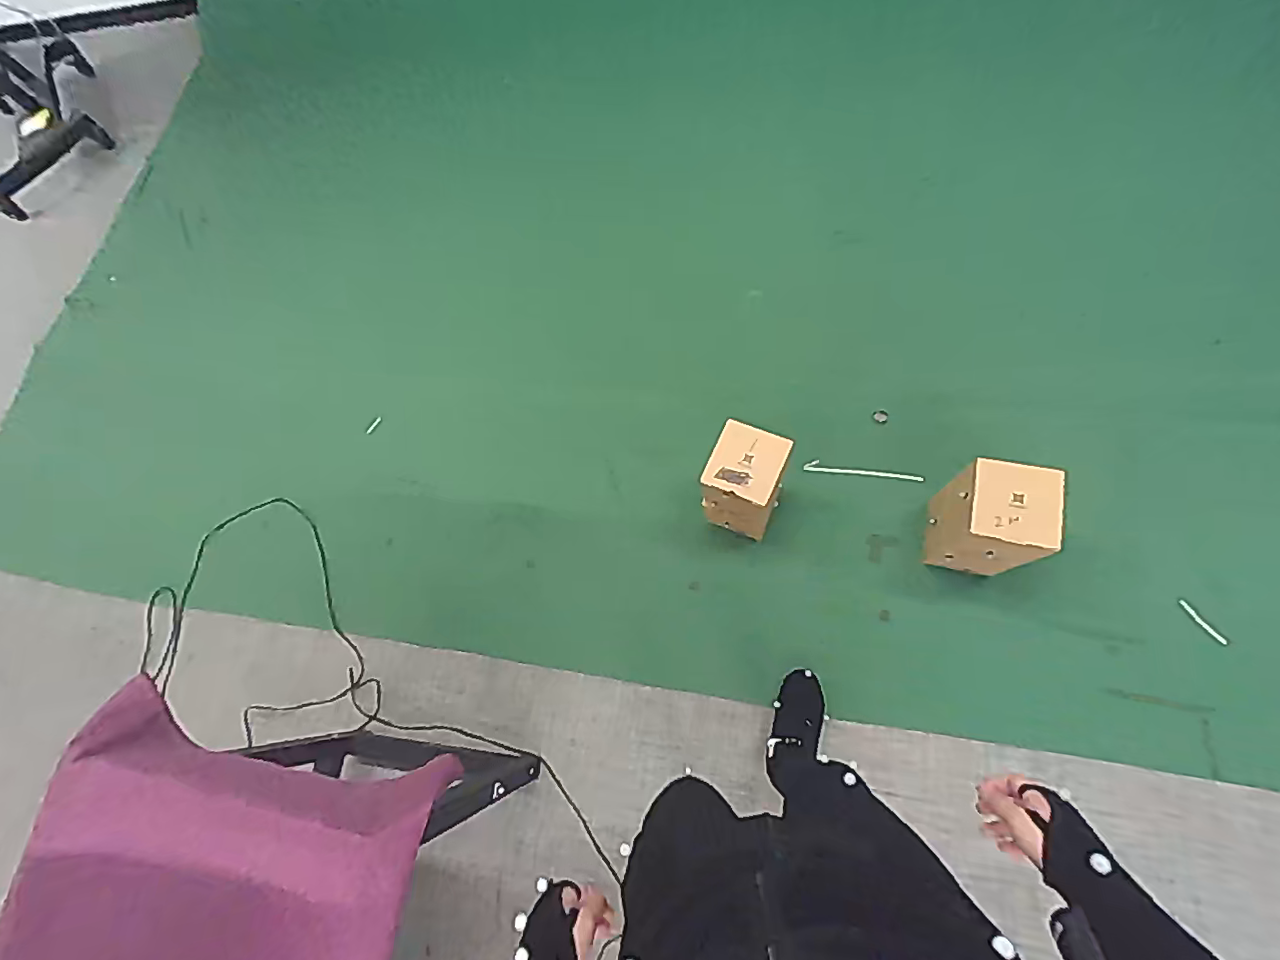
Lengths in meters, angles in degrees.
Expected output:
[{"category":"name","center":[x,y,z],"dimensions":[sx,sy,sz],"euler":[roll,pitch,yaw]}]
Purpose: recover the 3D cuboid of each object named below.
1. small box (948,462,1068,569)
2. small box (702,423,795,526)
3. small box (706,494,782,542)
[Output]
[{"category":"small box","center":[0.798,0.083,1.186],"dimensions":[0.168,0.176,0.179],"euler":[11,74,15]},{"category":"small box","center":[0.269,-0.007,1.329],"dimensions":[0.168,0.176,0.179],"euler":[23,77,17]},{"category":"small box","center":[0.291,0.051,1.481],"dimensions":[0.168,0.176,0.179],"euler":[20,77,17]}]
